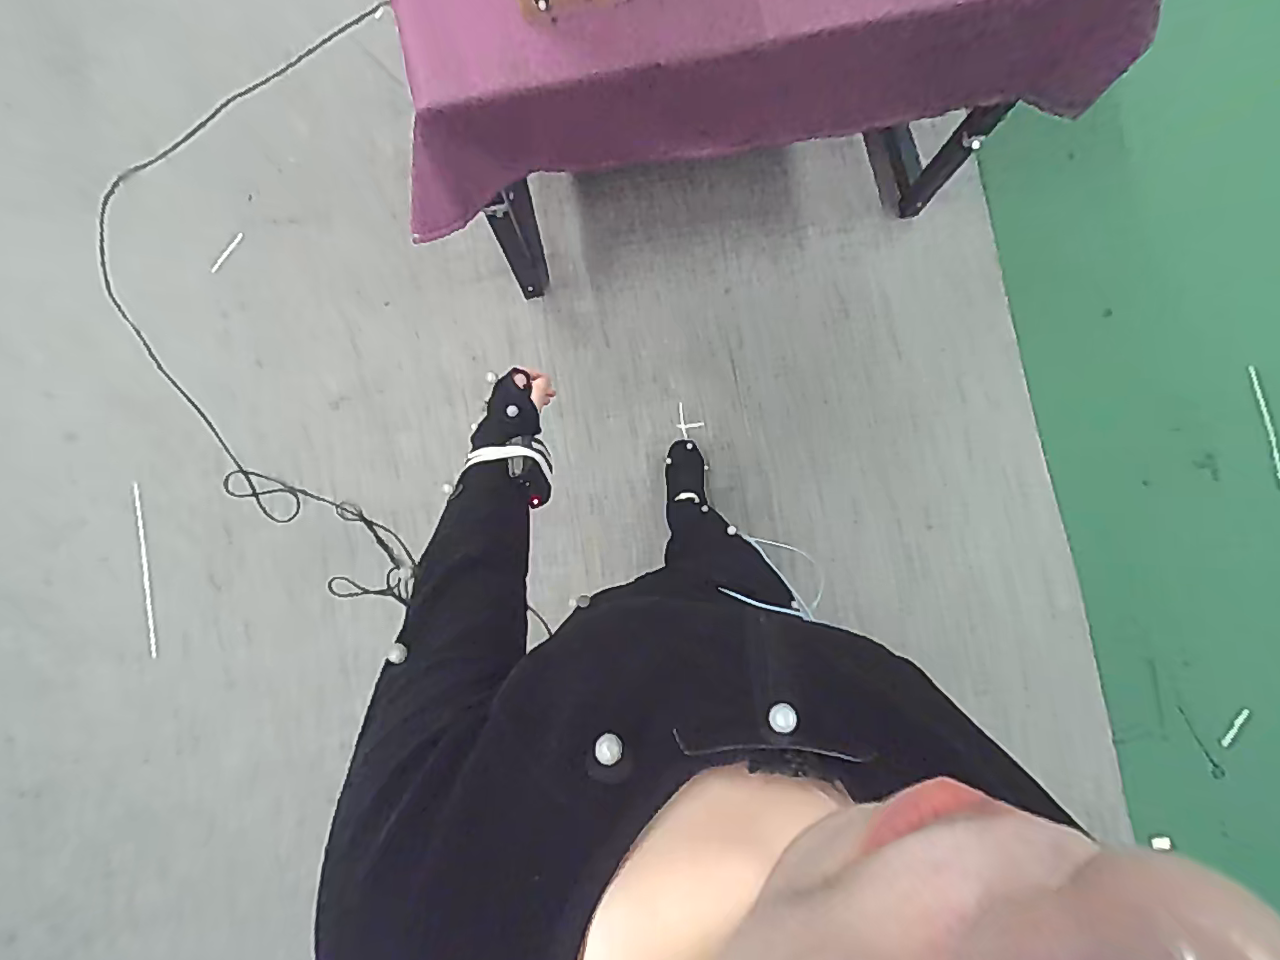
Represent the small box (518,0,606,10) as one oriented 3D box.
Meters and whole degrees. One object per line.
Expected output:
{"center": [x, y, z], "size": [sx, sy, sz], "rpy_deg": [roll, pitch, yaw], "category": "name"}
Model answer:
{"center": [-0.121, -0.817, 0.764], "size": [0.168, 0.176, 0.179], "rpy_deg": [-14, 84, -2], "category": "small box"}
